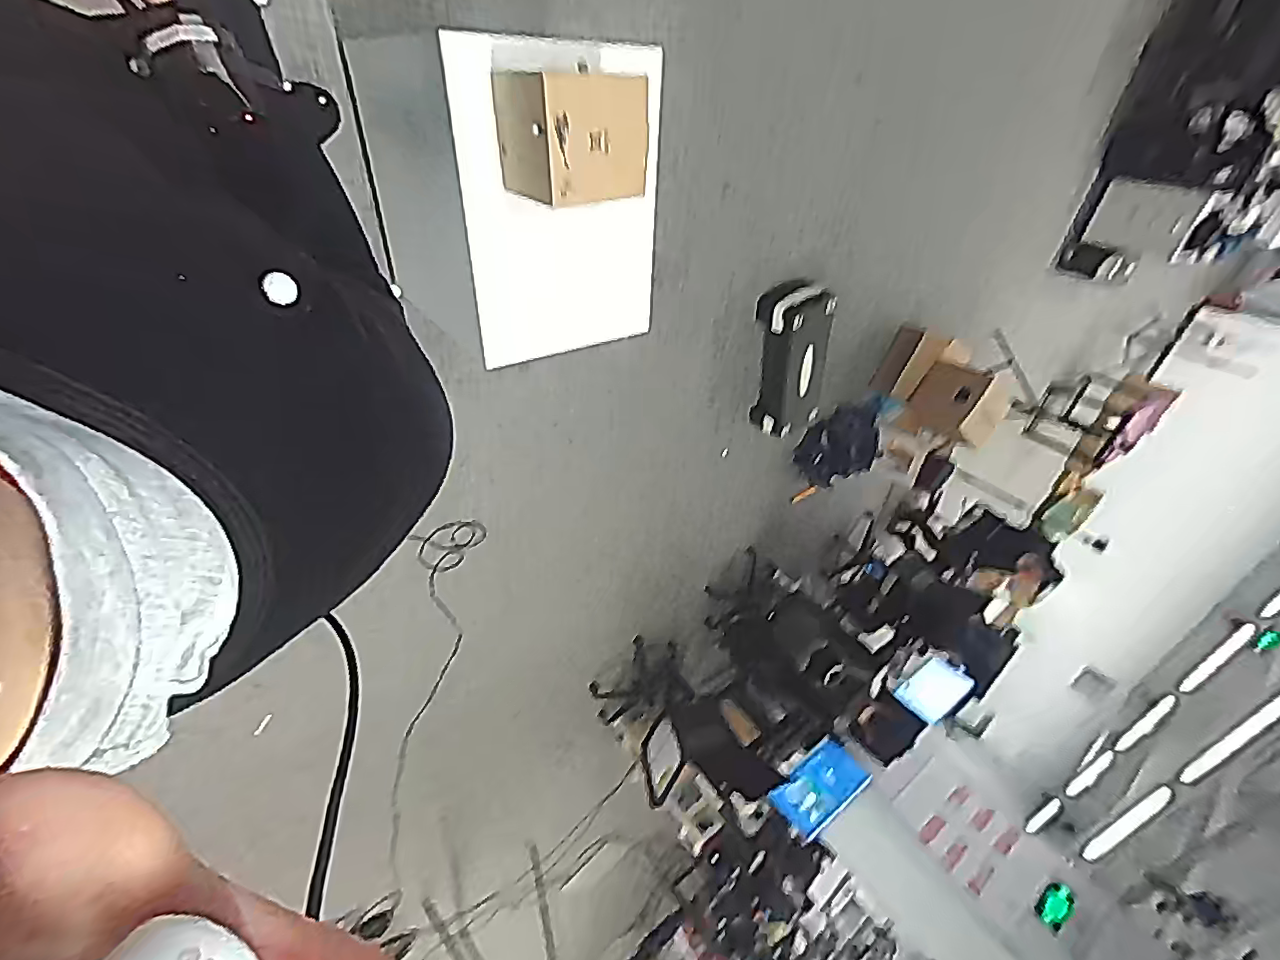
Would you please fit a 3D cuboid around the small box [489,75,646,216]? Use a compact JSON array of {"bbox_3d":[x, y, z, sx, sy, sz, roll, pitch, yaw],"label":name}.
[{"bbox_3d":[-0.111,-0.525,0.842,0.179,0.176,0.168,-24,135,-29],"label":"small box"}]
